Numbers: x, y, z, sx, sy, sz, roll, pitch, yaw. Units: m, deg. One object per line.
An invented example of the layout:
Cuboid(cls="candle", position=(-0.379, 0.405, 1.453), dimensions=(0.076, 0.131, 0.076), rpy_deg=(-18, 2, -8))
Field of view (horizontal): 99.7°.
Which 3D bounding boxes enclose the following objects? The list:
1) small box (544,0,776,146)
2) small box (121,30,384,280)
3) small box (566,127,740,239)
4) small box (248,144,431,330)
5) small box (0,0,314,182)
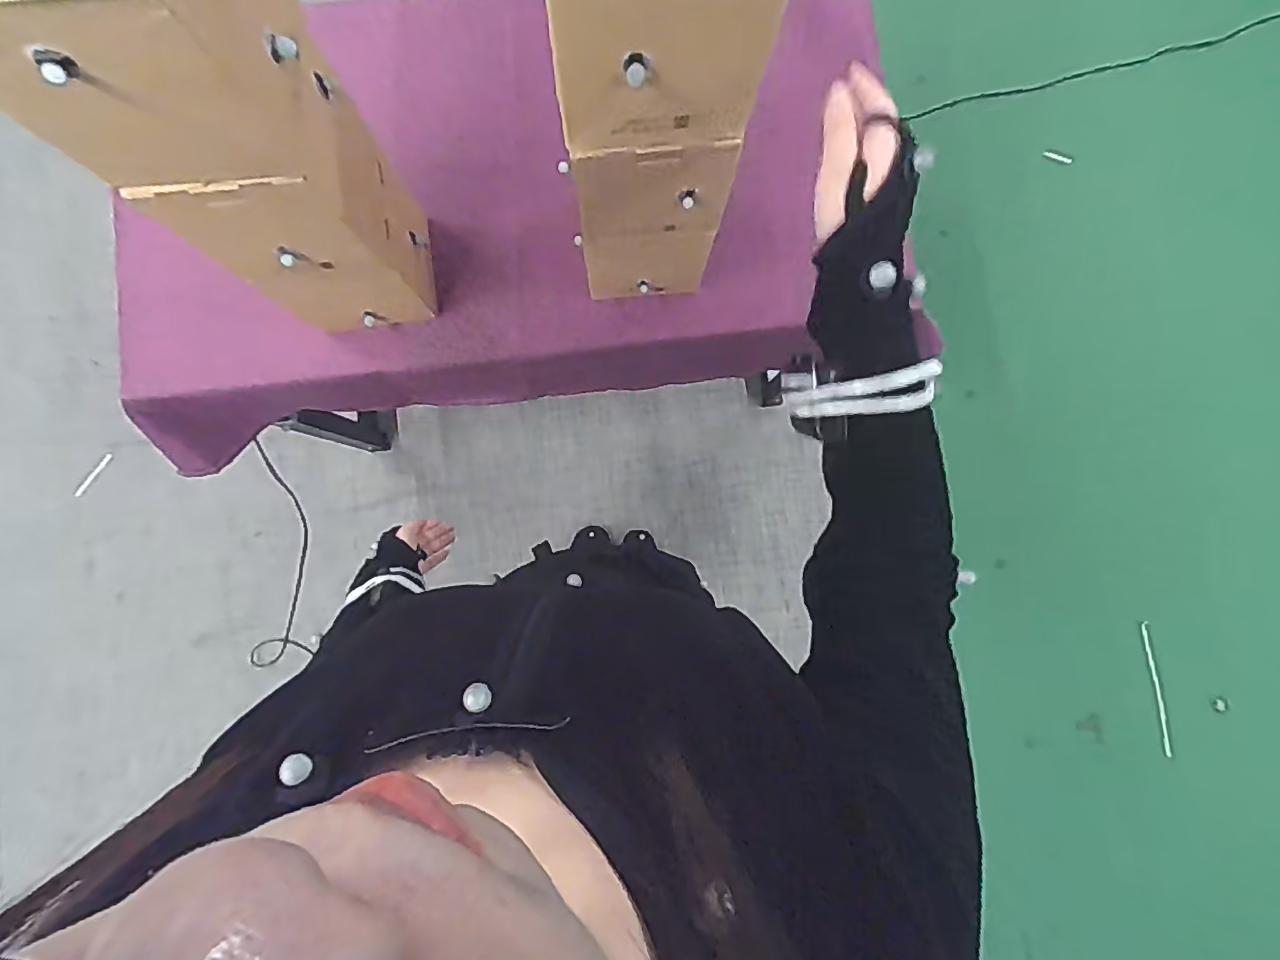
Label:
Cuboid(cls="small box", position=(0.008, -0.398, 0.432), dimensions=(0.168, 0.176, 0.179), rpy_deg=(-6, 85, -3))
Cuboid(cls="small box", position=(-0.394, -0.339, 0.575), dimensions=(0.168, 0.176, 0.179), rpy_deg=(-7, 85, -1))
Cuboid(cls="small box", position=(0.004, -0.384, 0.593), dimensions=(0.168, 0.176, 0.179), rpy_deg=(-7, 85, -3))
Cuboid(cls="small box", position=(-0.400, -0.320, 0.740), dimensions=(0.179, 0.176, 0.168), rpy_deg=(-8, 85, -3))
Cuboid(cls="small box", position=(-0.384, -0.354, 0.412), dimensions=(0.179, 0.176, 0.168), rpy_deg=(-5, 85, -3))
